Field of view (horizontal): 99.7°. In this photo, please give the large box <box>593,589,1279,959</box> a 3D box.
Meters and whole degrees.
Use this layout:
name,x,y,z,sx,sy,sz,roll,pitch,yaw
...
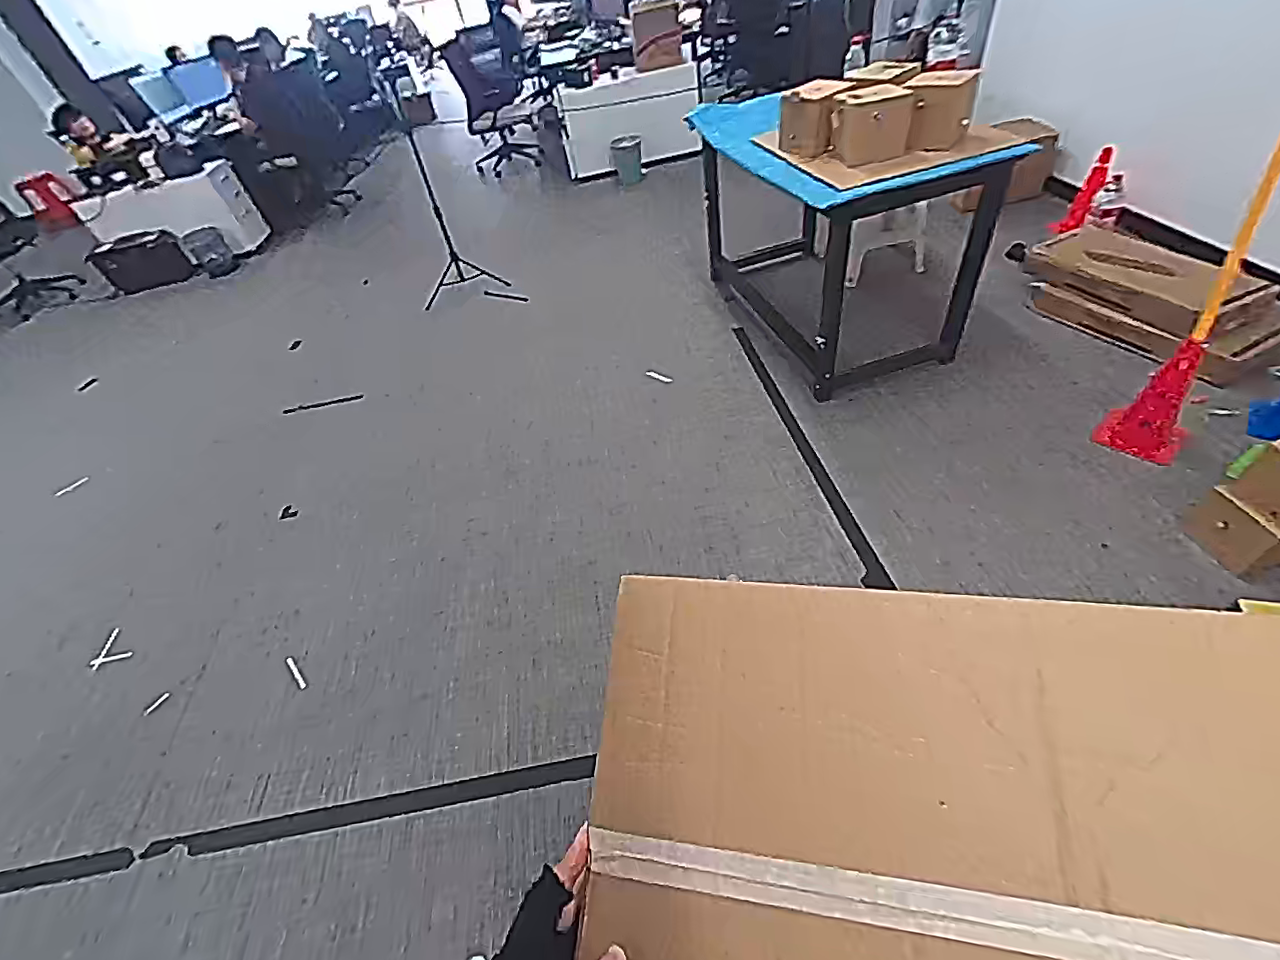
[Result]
name,x,y,z,sx,sy,sz,roll,pitch,yaw
large box,0.201,0.275,0.403,0.408,0.320,0.320,1,68,14
